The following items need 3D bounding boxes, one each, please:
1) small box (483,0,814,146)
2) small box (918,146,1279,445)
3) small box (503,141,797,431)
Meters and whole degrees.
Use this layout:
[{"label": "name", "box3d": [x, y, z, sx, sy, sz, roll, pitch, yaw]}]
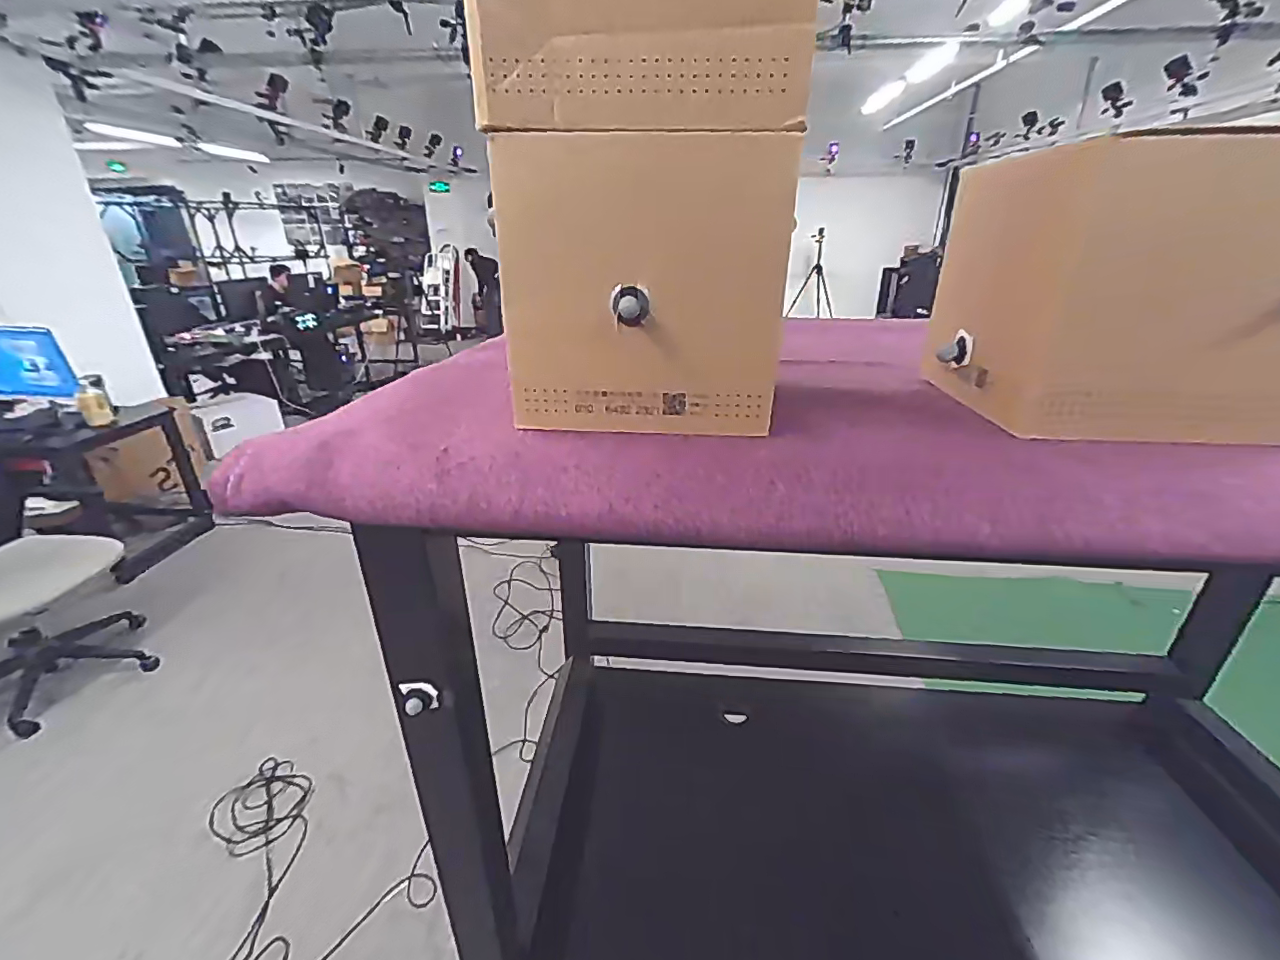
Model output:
[{"label": "small box", "box3d": [0.006, -0.289, 0.334, 0.179, 0.176, 0.168, 2, 25, 1]}, {"label": "small box", "box3d": [0.331, -0.127, 0.386, 0.179, 0.176, 0.168, 1, 23, 4]}, {"label": "small box", "box3d": [0.010, -0.141, 0.401, 0.168, 0.176, 0.179, 3, 24, 3]}]
